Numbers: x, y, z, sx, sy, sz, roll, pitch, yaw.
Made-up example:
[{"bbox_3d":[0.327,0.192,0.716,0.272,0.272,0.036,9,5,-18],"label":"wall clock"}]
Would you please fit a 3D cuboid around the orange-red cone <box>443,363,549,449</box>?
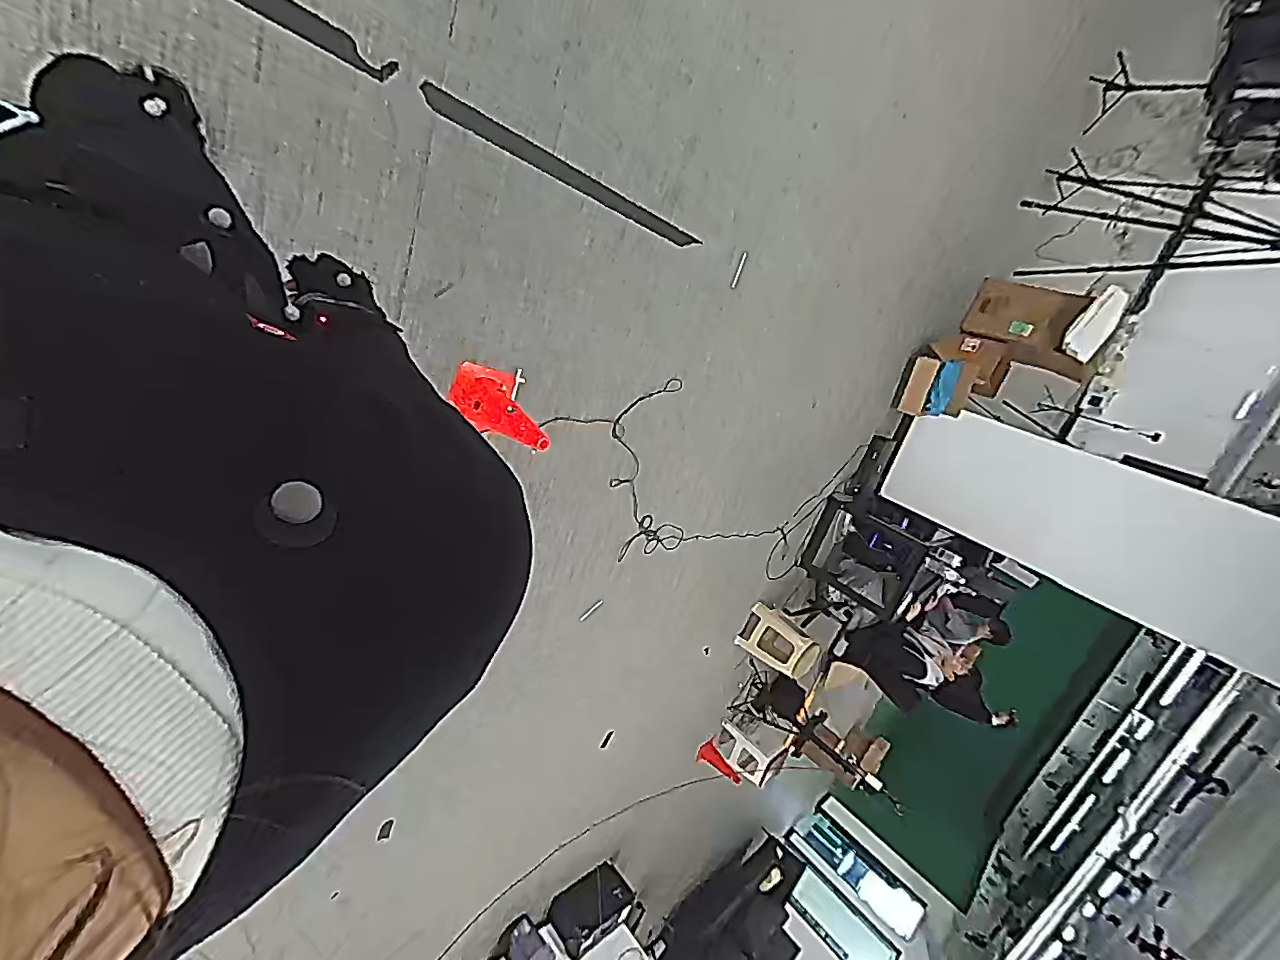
[{"bbox_3d":[-0.368,-0.168,1.516,0.199,0.360,0.198,12,105,-49],"label":"orange-red cone"}]
